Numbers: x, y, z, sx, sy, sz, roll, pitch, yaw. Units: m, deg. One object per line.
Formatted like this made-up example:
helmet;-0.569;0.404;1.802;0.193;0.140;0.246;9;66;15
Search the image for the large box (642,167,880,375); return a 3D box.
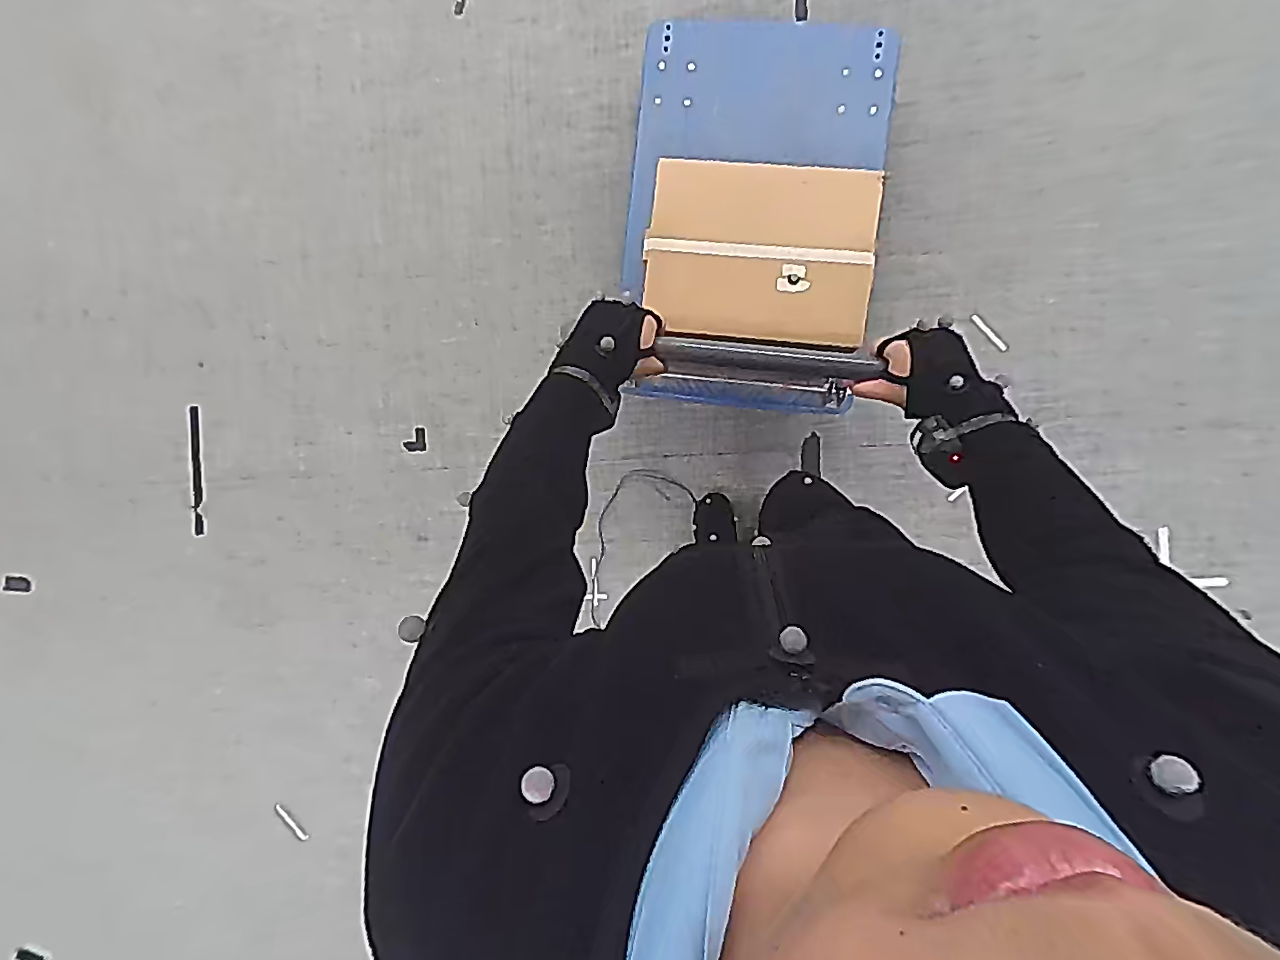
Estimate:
large box;0.226;-0.408;1.125;0.408;0.320;0.320;7;94;5
